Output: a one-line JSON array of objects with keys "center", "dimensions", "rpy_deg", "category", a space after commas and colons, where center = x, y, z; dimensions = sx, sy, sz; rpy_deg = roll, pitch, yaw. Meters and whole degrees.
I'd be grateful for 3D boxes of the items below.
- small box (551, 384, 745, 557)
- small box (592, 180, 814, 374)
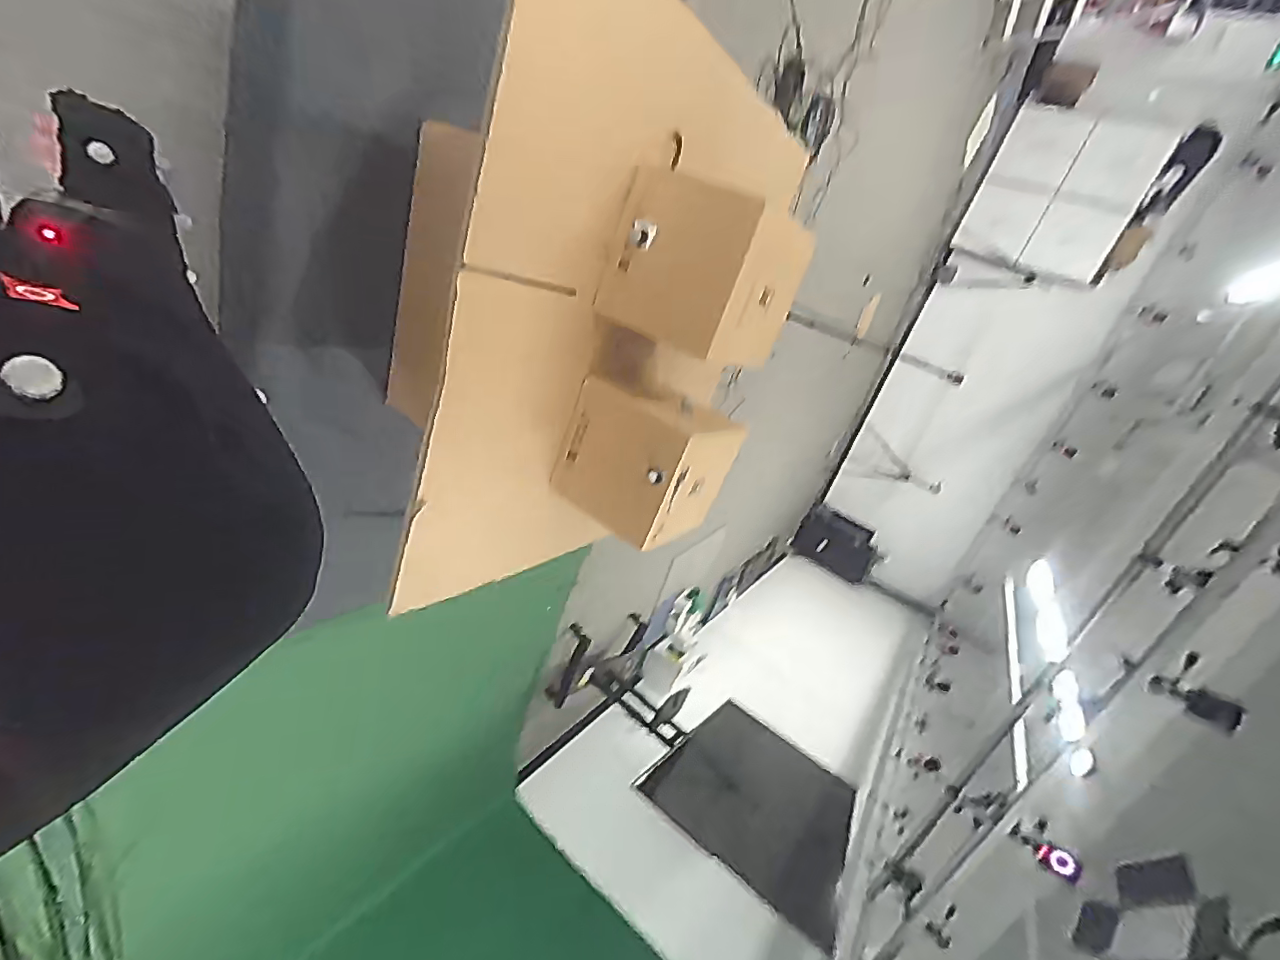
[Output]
[{"center": [0.011, -0.024, 0.743], "dimensions": [0.179, 0.176, 0.168], "rpy_deg": [-13, 130, -57], "category": "small box"}, {"center": [0.074, -0.236, 0.646], "dimensions": [0.179, 0.176, 0.168], "rpy_deg": [-13, 128, -54], "category": "small box"}]
